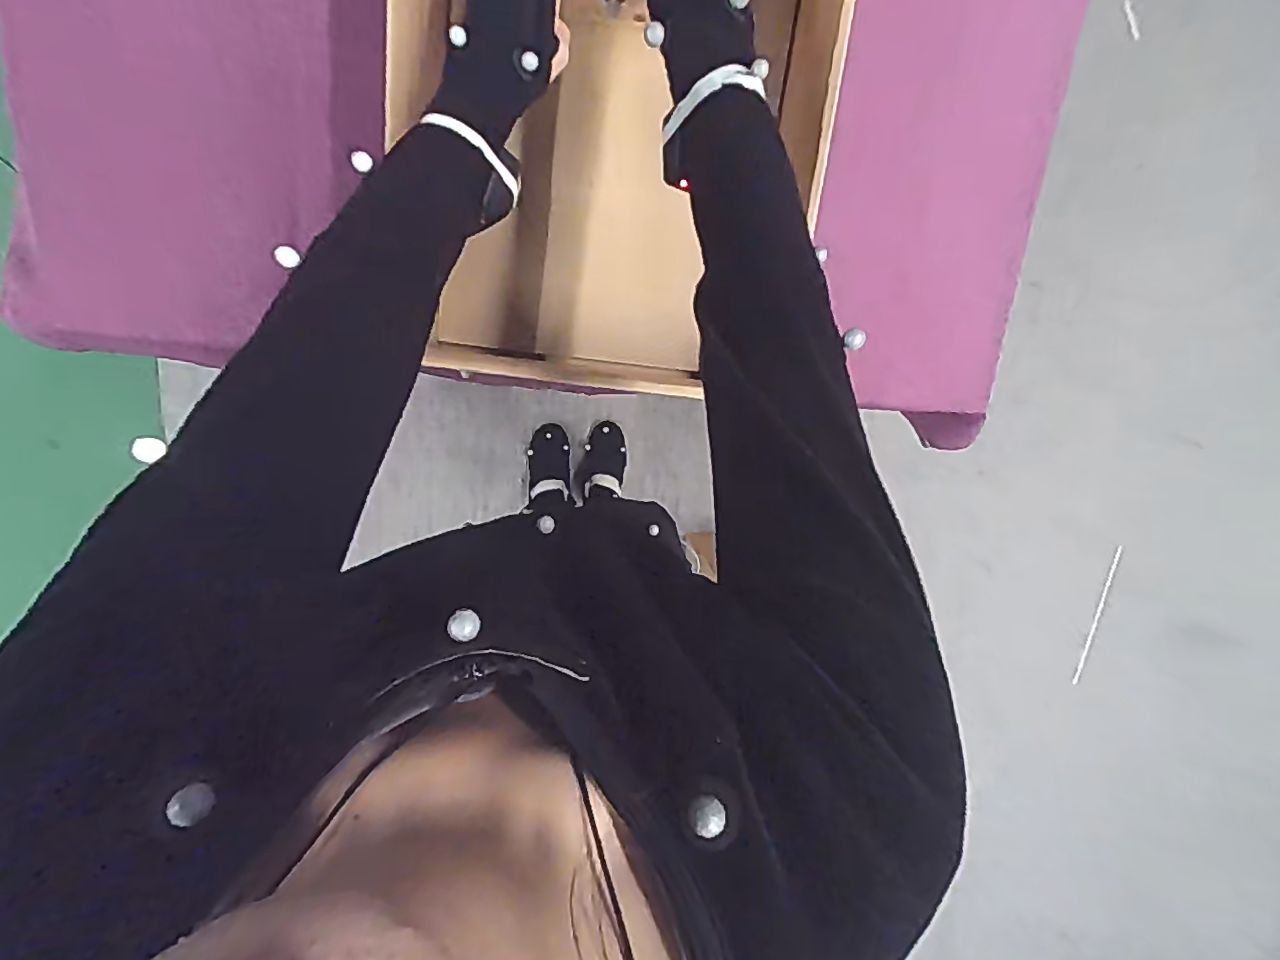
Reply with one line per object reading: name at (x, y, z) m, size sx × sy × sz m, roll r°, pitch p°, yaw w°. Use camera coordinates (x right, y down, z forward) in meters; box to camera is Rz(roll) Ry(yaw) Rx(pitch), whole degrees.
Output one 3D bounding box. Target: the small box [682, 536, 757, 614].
small box at (0.214, 0.260, 1.512) m, size 0.179 × 0.176 × 0.168 m, roll -1°, pitch 103°, yaw -6°
